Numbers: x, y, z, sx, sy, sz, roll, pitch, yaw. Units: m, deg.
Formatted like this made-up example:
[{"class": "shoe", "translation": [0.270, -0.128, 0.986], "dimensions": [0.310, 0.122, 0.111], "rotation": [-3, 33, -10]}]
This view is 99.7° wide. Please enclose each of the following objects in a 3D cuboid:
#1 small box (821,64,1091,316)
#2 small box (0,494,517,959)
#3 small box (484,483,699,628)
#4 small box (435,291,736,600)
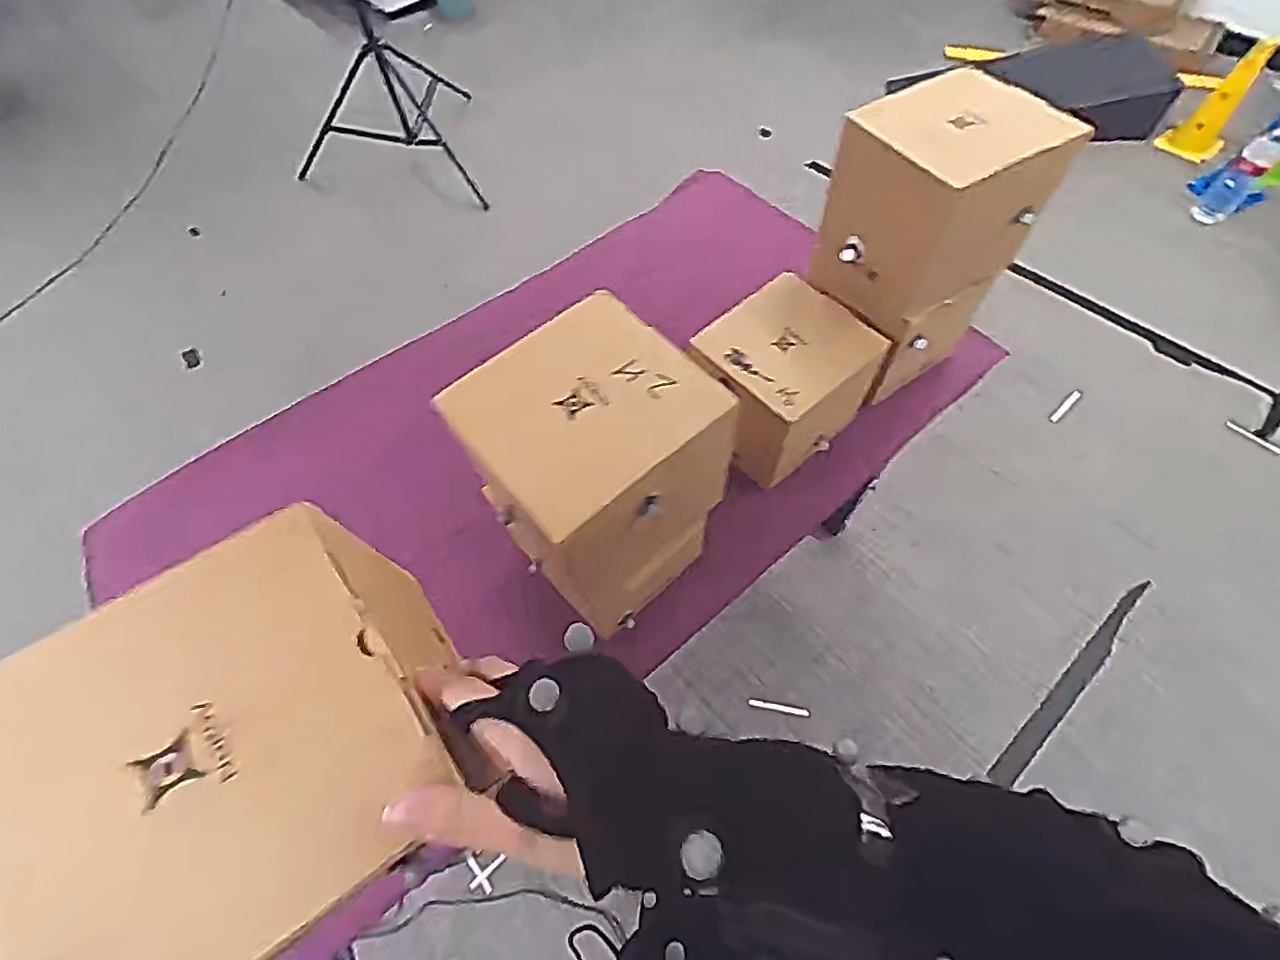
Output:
[{"class": "small box", "translation": [0.338, -0.325, 0.621], "dimensions": [0.179, 0.176, 0.168], "rotation": [-28, 62, -10]}, {"class": "small box", "translation": [-0.184, 0.142, 0.284], "dimensions": [0.179, 0.176, 0.168], "rotation": [-33, 75, -18]}, {"class": "small box", "translation": [-0.043, 0.050, 0.627], "dimensions": [0.168, 0.176, 0.179], "rotation": [-40, 66, -17]}, {"class": "small box", "translation": [-0.038, -0.021, 0.478], "dimensions": [0.179, 0.176, 0.168], "rotation": [-38, 67, -16]}]
